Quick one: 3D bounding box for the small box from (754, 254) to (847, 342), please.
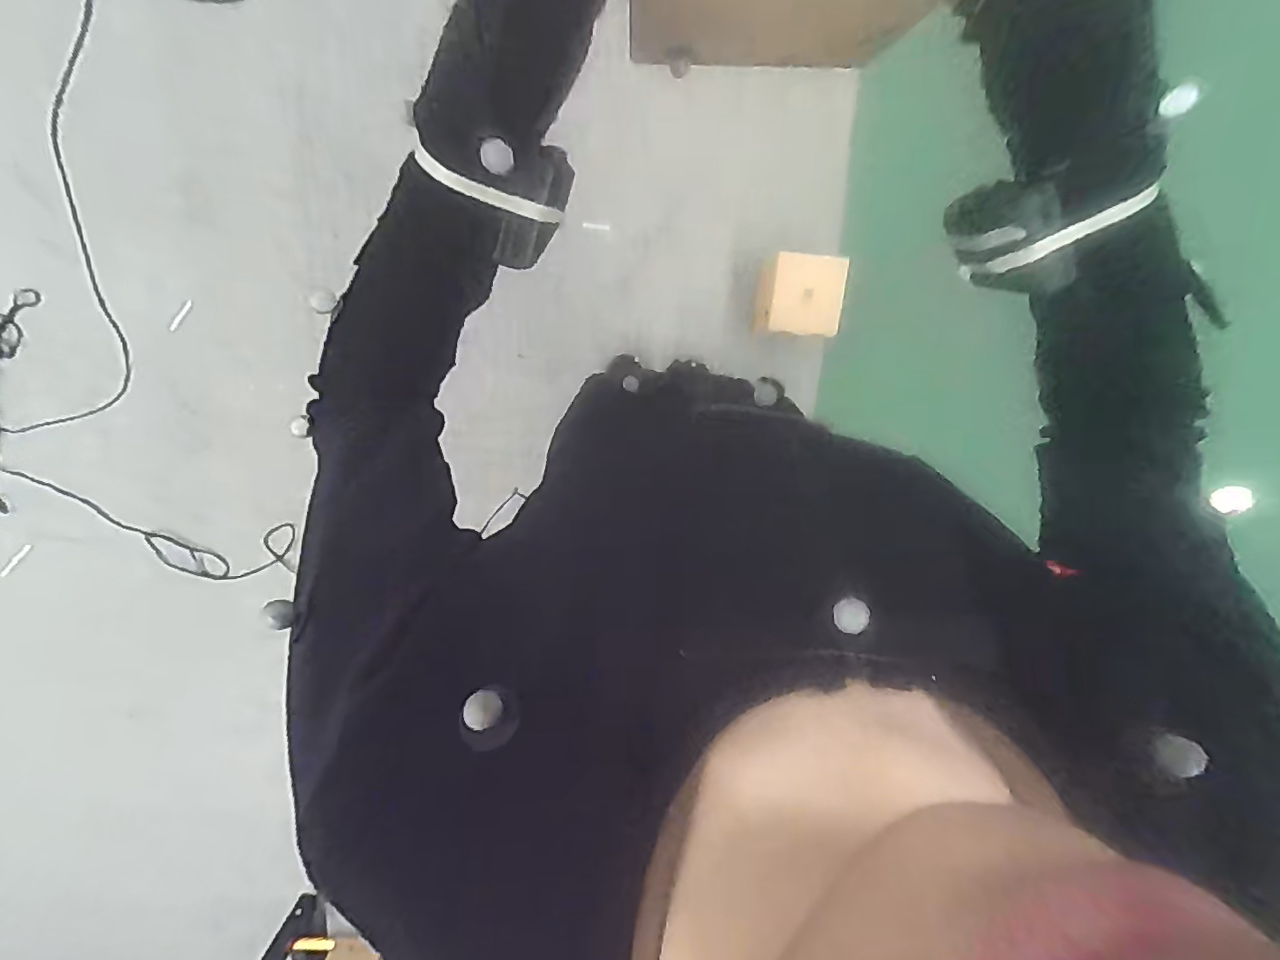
[{"bbox_3d":[0.383,-0.438,1.320,0.168,0.176,0.179,5,102,-1],"label":"small box"}]
